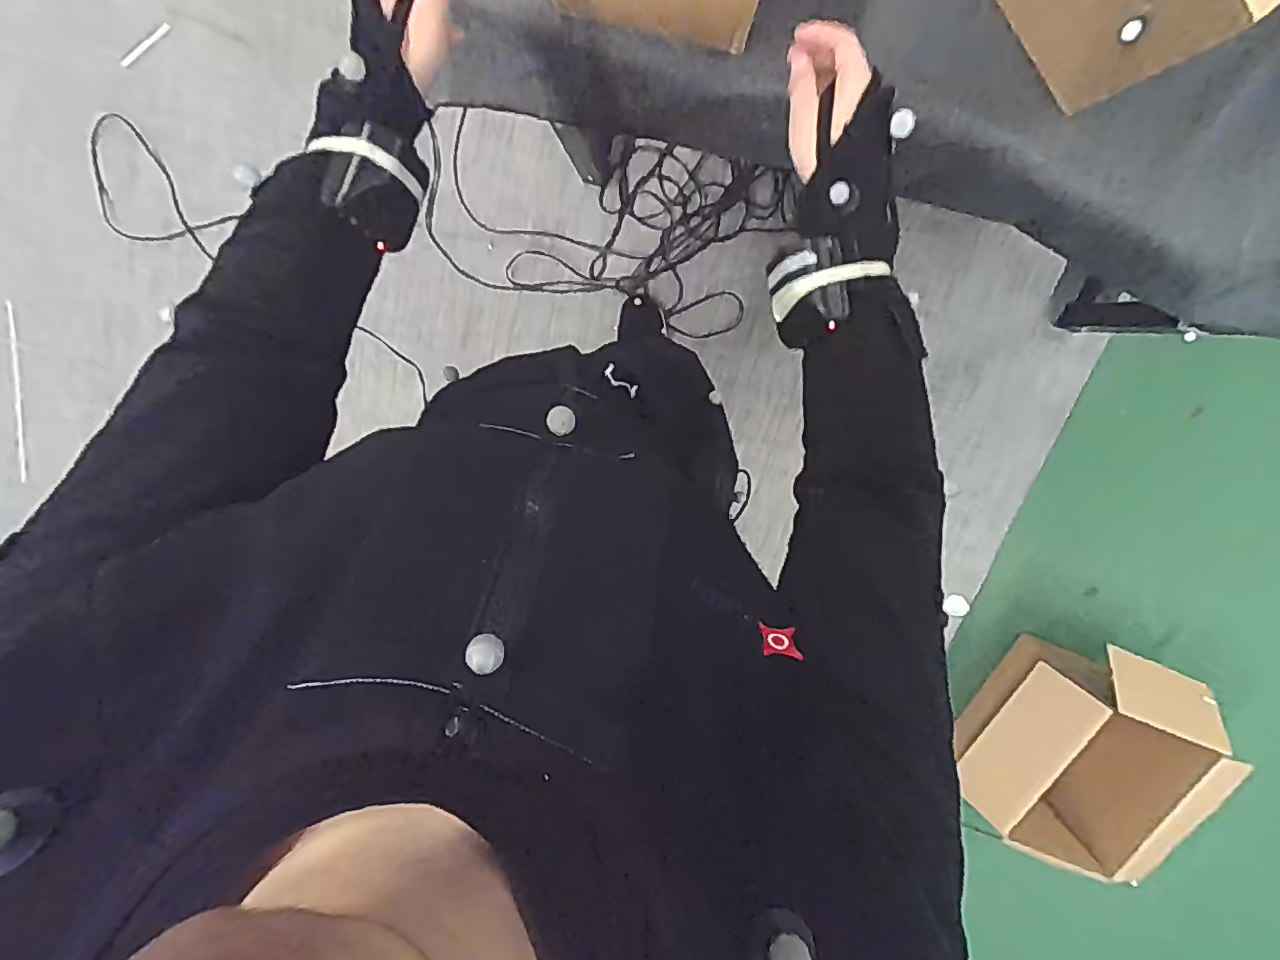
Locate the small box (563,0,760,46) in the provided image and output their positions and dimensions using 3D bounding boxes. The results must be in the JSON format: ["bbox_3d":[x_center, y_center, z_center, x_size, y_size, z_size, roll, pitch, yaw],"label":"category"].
[{"bbox_3d":[0.027,-0.460,0.391,0.179,0.176,0.168,12,103,-1],"label":"small box"}]
